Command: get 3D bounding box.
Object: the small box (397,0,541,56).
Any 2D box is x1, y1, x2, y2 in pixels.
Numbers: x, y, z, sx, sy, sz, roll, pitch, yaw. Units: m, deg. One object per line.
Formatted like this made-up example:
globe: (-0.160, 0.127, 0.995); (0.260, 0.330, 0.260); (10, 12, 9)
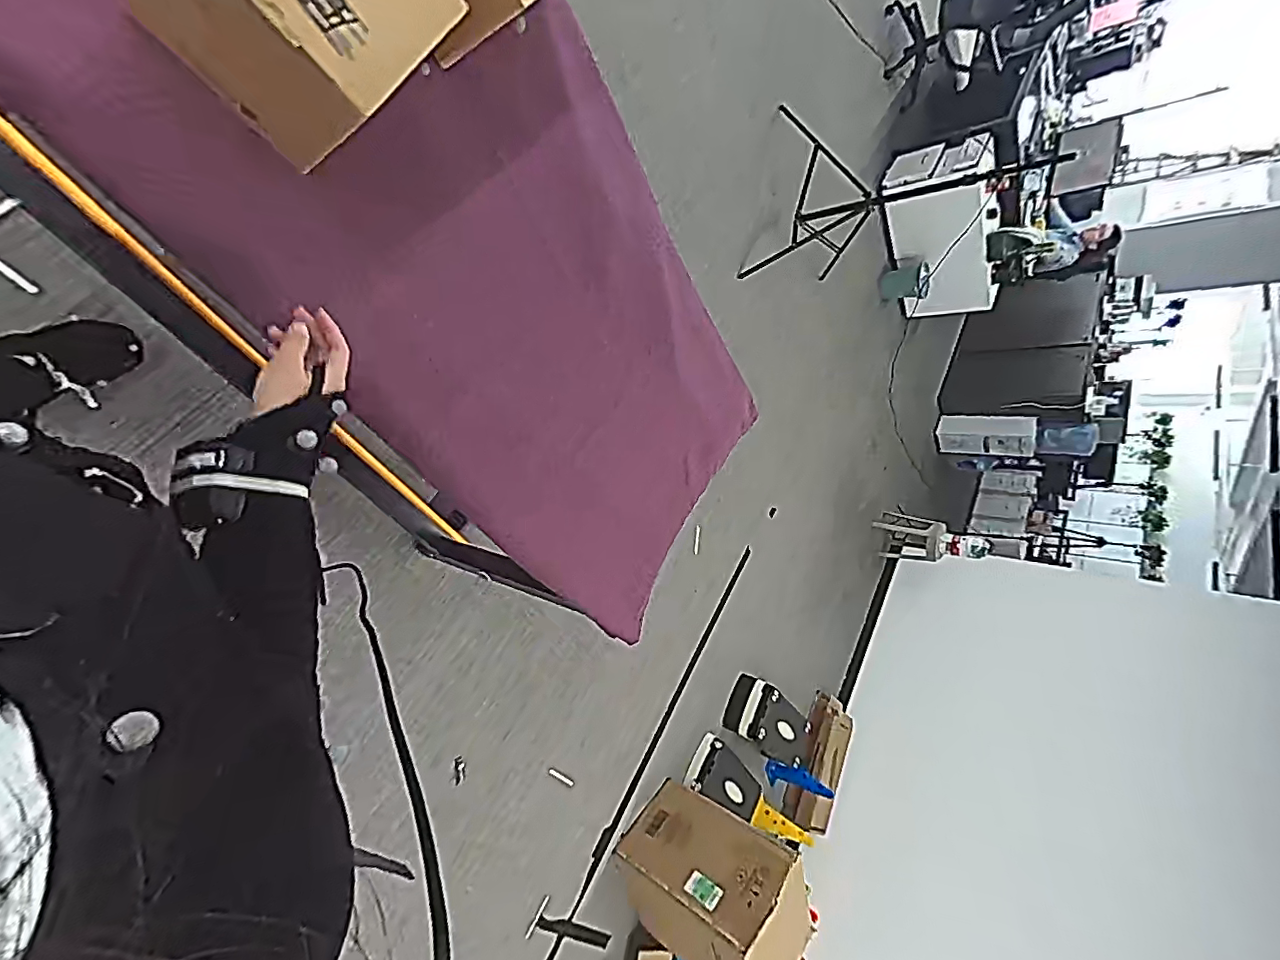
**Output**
small box: (-0.190, -0.616, 0.599); (0.179, 0.176, 0.168); (52, 57, -40)
